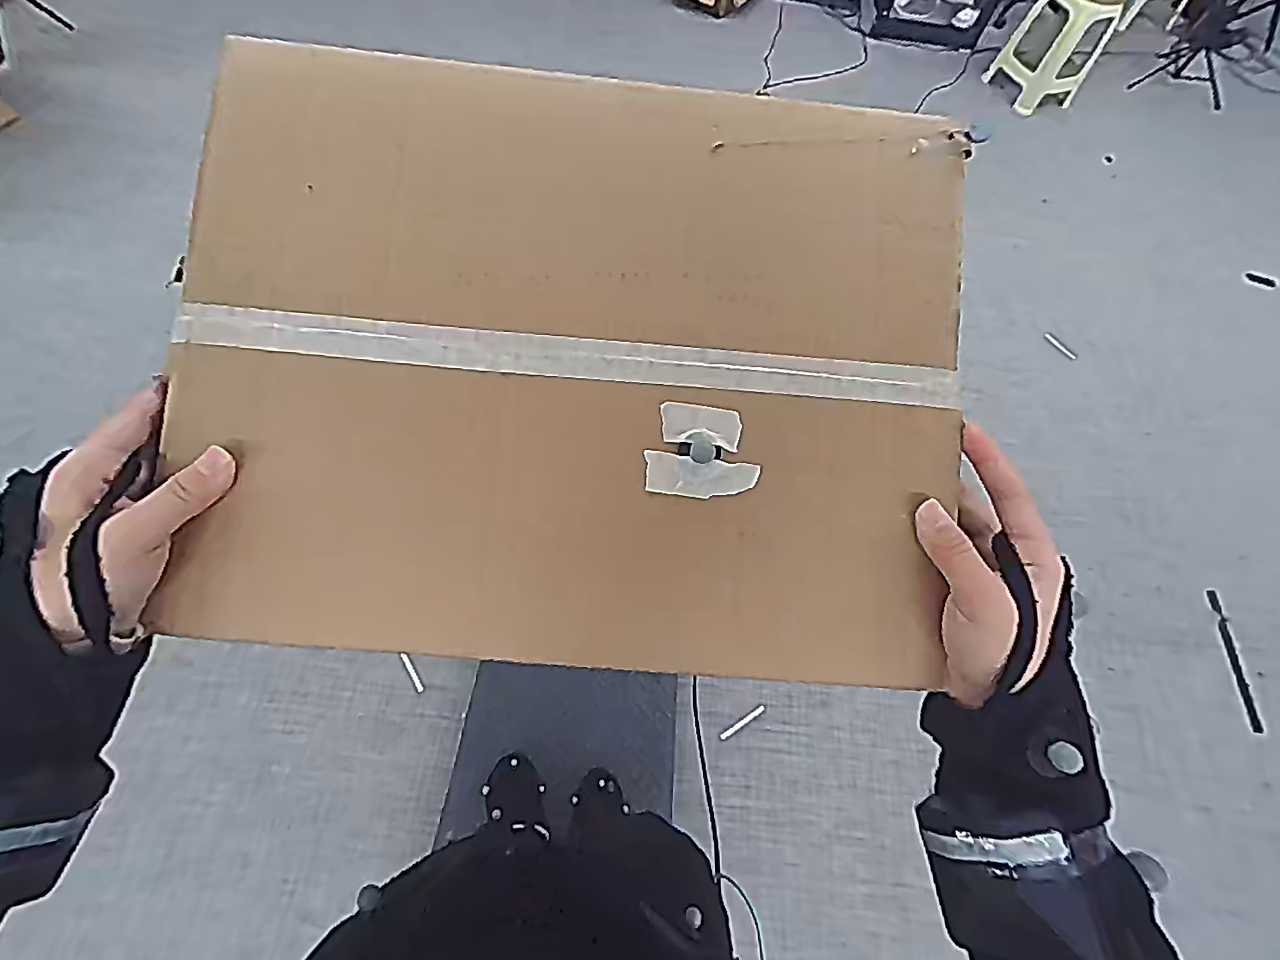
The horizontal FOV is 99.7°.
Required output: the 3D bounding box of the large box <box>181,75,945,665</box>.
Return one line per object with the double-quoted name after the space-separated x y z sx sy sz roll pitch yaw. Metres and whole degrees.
-0.037 -0.052 0.446 0.408 0.320 0.320 5 86 -2 "large box"
